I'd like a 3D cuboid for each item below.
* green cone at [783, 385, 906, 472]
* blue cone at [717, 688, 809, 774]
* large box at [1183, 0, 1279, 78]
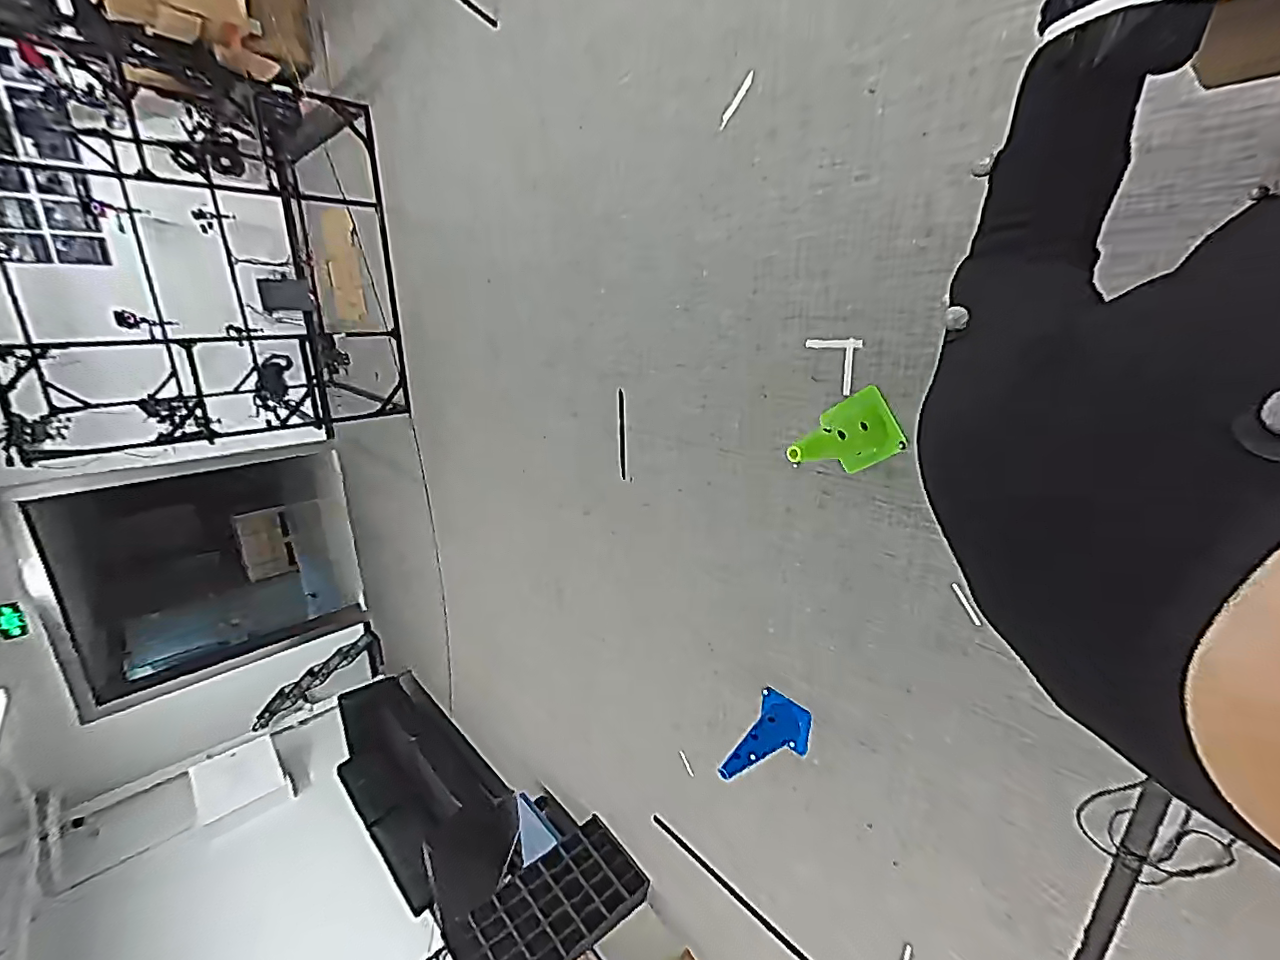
[{"bbox_3d":[0.501,-0.107,1.427,0.202,0.368,0.200,-37,73,50],"label":"green cone"},{"bbox_3d":[0.414,0.920,1.896,0.192,0.380,0.193,23,119,44],"label":"blue cone"},{"bbox_3d":[0.559,-0.443,0.240,0.408,0.320,0.320,17,120,43],"label":"large box"}]
